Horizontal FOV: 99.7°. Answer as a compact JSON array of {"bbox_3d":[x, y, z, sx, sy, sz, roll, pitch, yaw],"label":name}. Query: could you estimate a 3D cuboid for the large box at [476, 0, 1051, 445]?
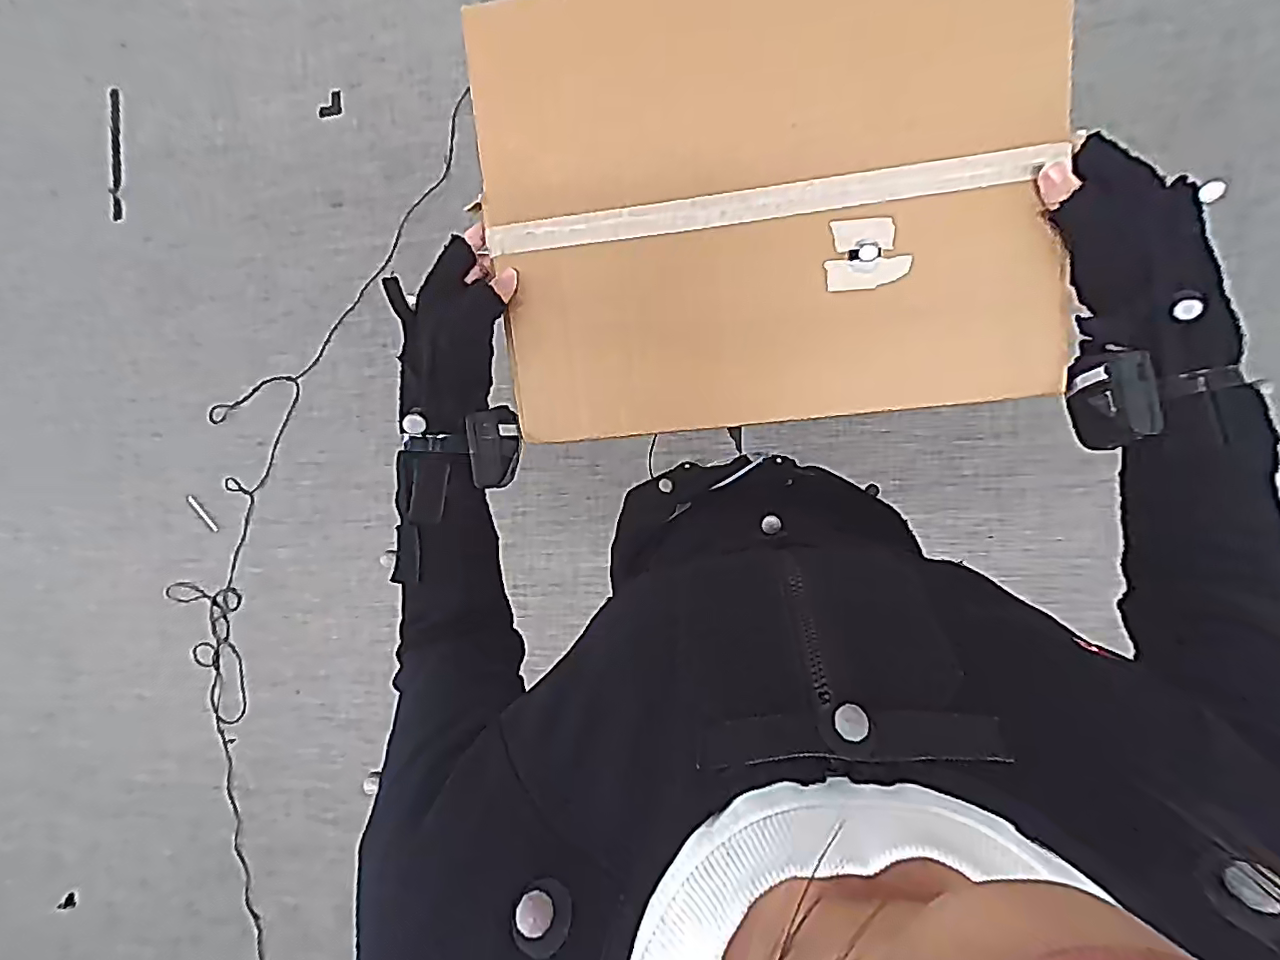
[{"bbox_3d":[0.102,-0.224,0.547,0.408,0.320,0.320,-6,100,5],"label":"large box"}]
